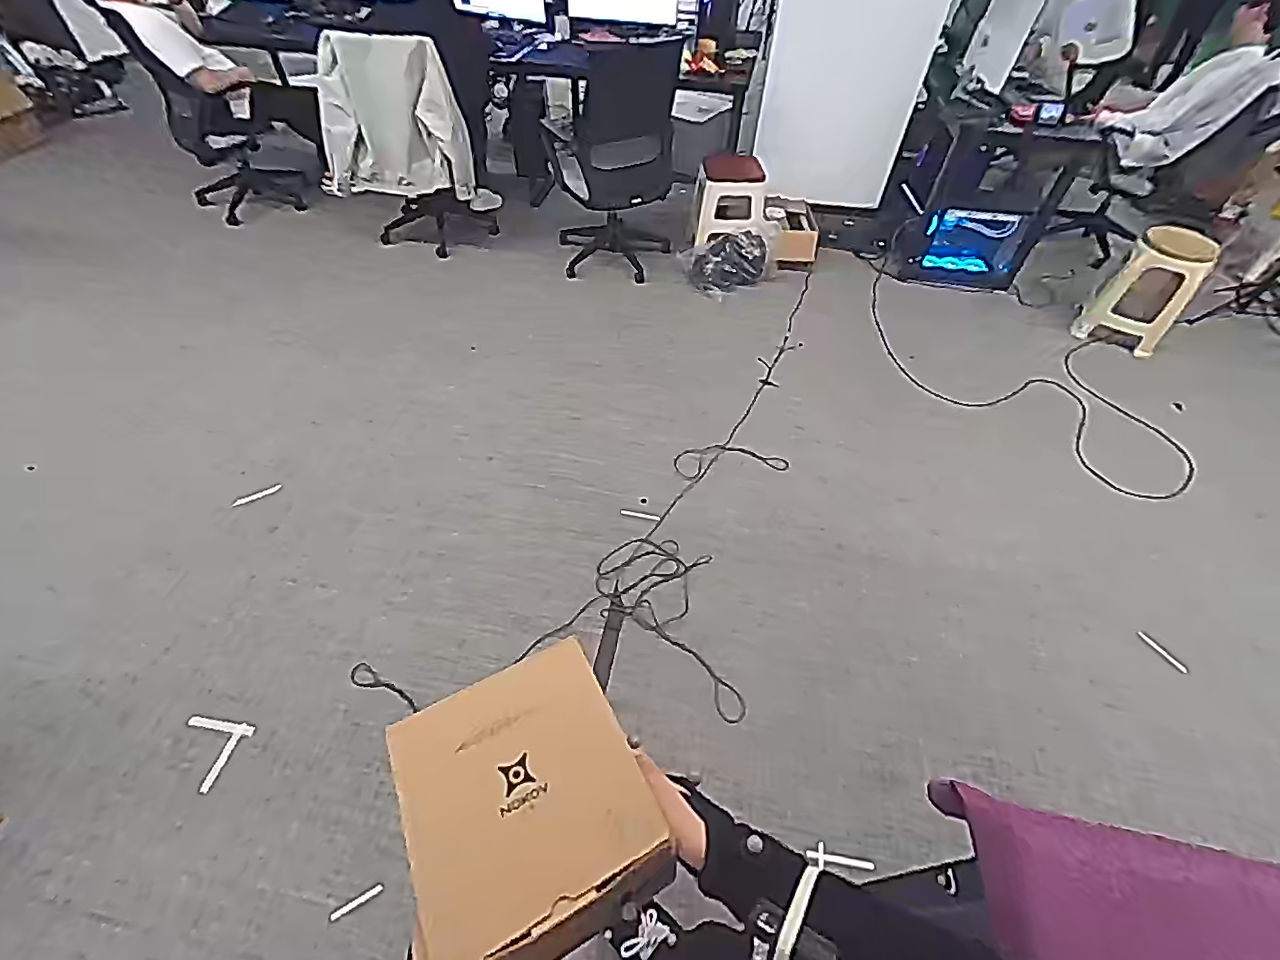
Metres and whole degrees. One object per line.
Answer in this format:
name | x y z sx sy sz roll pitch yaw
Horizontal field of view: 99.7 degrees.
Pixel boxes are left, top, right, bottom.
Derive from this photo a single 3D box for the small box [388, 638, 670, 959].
small box | -0.083 0.275 0.453 0.168 0.176 0.179 -23 48 -18
